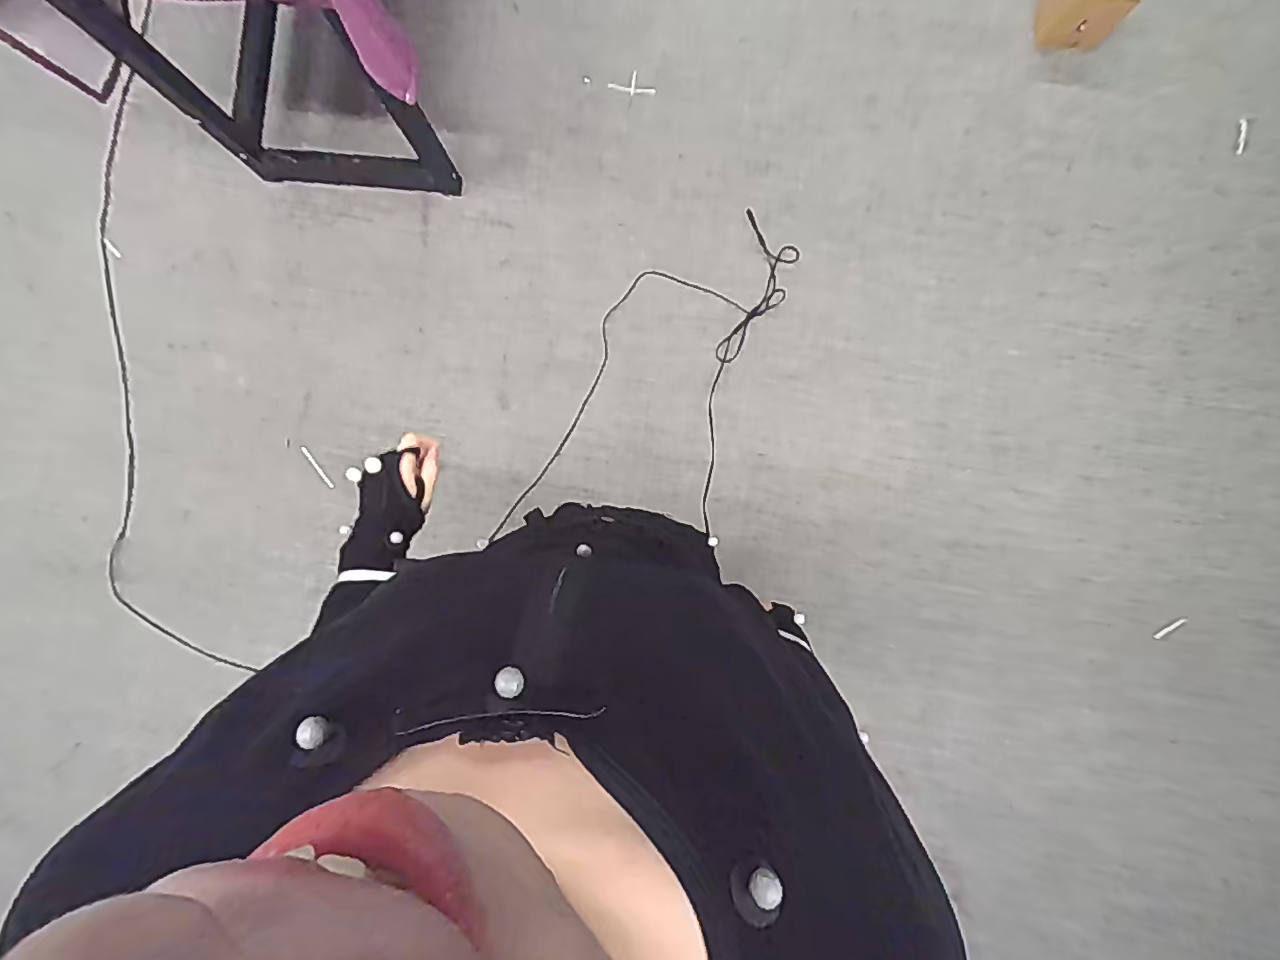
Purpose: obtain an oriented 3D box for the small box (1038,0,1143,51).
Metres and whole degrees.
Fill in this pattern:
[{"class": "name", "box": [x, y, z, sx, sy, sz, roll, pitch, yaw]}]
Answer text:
[{"class": "small box", "box": [1.224, -1.318, 1.468, 0.168, 0.176, 0.179, 7, 88, 0]}]
